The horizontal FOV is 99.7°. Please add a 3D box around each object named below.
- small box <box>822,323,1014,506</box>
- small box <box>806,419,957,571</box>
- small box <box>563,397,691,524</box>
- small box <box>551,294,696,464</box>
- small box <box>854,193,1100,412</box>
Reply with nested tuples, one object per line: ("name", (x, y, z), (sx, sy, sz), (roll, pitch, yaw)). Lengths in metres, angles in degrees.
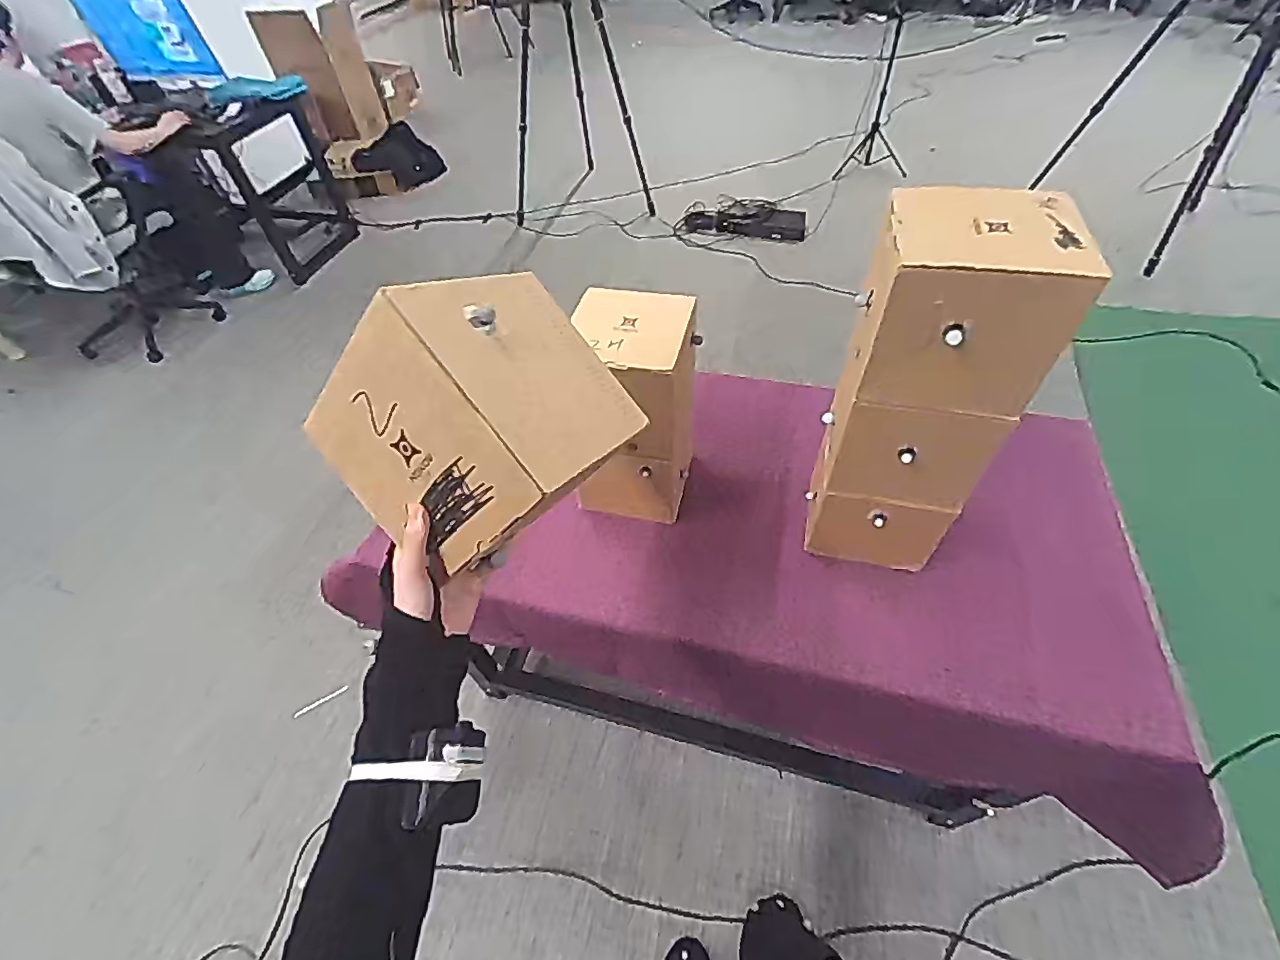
("small box", (0.352, -0.084, 0.716), (0.179, 0.176, 0.168), (9, 52, 13))
("small box", (0.363, 0.022, 0.840), (0.179, 0.176, 0.168), (10, 52, 12))
("small box", (-0.013, -0.042, 0.930), (0.179, 0.176, 0.168), (9, 51, 11))
("small box", (-0.015, -0.150, 0.805), (0.168, 0.176, 0.179), (8, 51, 12))
("small box", (0.339, -0.192, 0.592), (0.179, 0.176, 0.168), (7, 52, 12))
